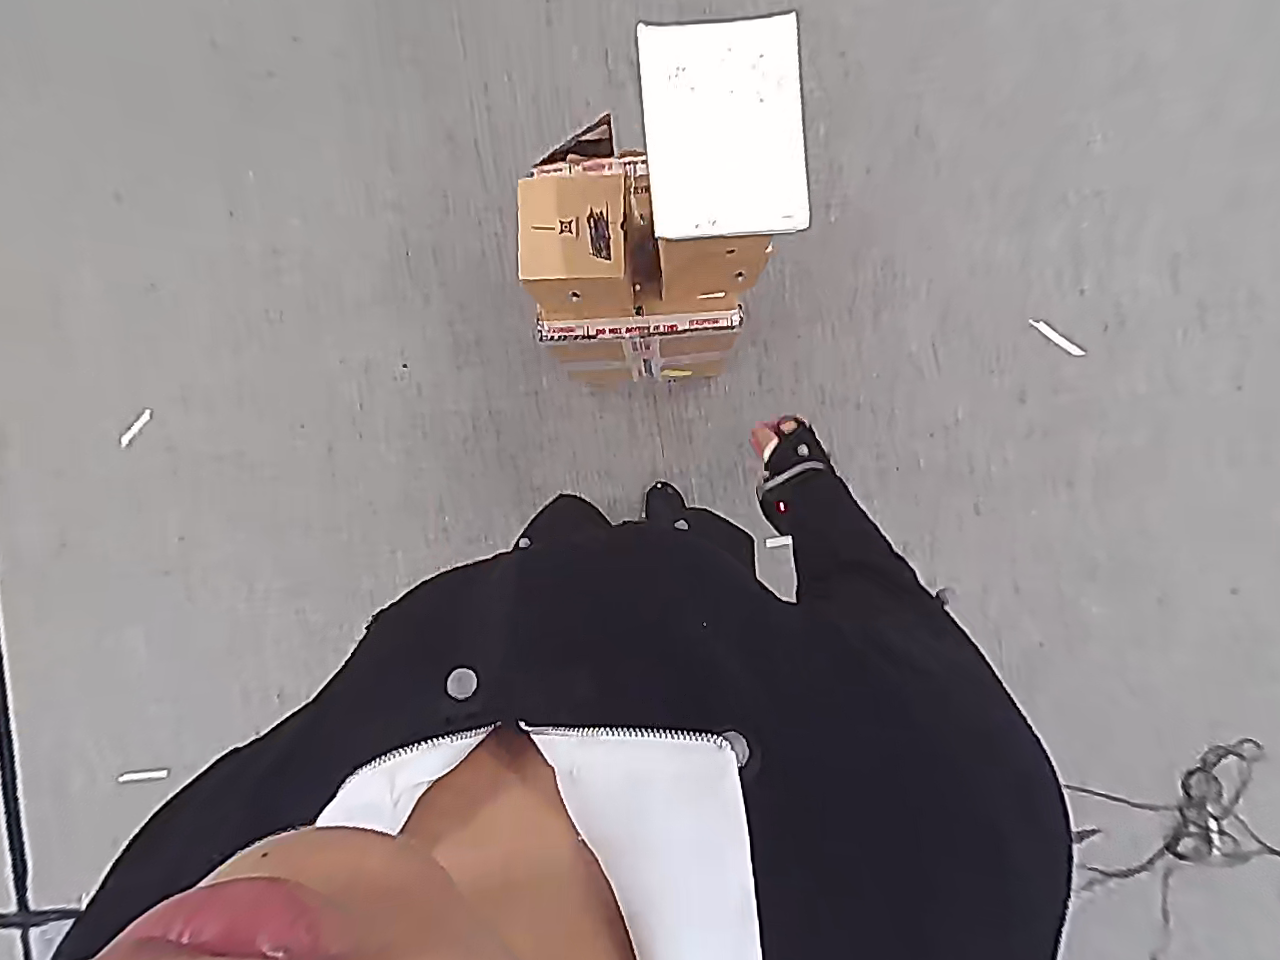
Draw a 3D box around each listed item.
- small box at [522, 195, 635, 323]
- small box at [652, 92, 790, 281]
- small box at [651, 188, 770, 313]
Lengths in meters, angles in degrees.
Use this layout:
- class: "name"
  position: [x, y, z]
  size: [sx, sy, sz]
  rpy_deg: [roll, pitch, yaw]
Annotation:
- class: "small box"
  position: [-0.101, -0.383, 0.960]
  size: [0.179, 0.176, 0.168]
  rpy_deg: [0, 91, 5]
- class: "small box"
  position: [0.107, -0.413, 0.787]
  size: [0.168, 0.176, 0.179]
  rpy_deg: [-7, 90, 1]
- class: "small box"
  position: [0.115, -0.406, 0.950]
  size: [0.179, 0.176, 0.168]
  rpy_deg: [-8, 90, 2]
